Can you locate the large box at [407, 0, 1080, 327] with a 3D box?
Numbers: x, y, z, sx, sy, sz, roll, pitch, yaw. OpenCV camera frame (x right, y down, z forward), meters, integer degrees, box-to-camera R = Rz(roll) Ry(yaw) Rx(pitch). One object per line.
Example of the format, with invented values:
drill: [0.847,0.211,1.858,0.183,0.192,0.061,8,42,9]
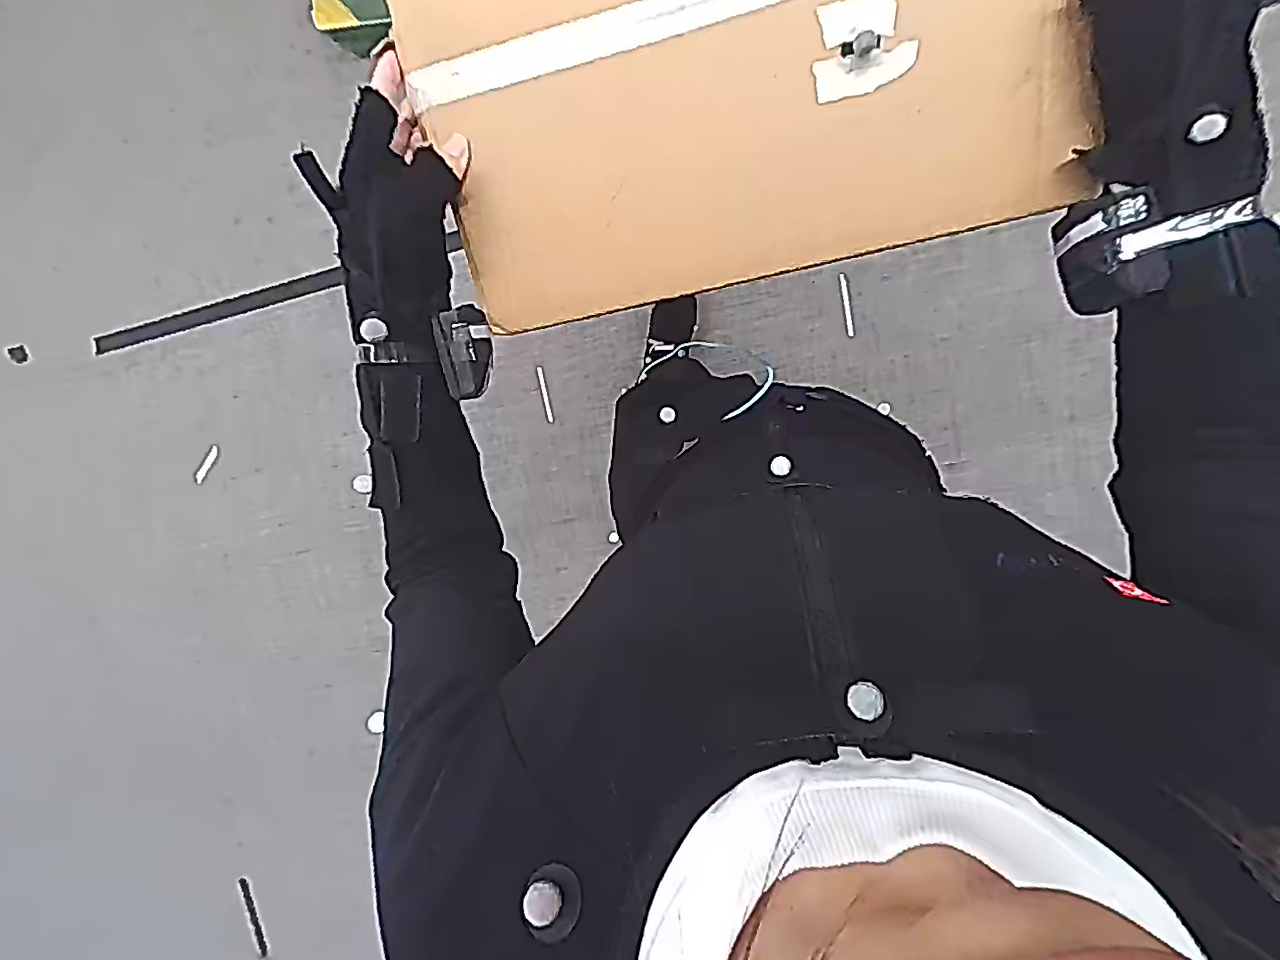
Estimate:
large box: [0.065,-0.342,0.471,0.408,0.320,0.320,-10,110,8]
